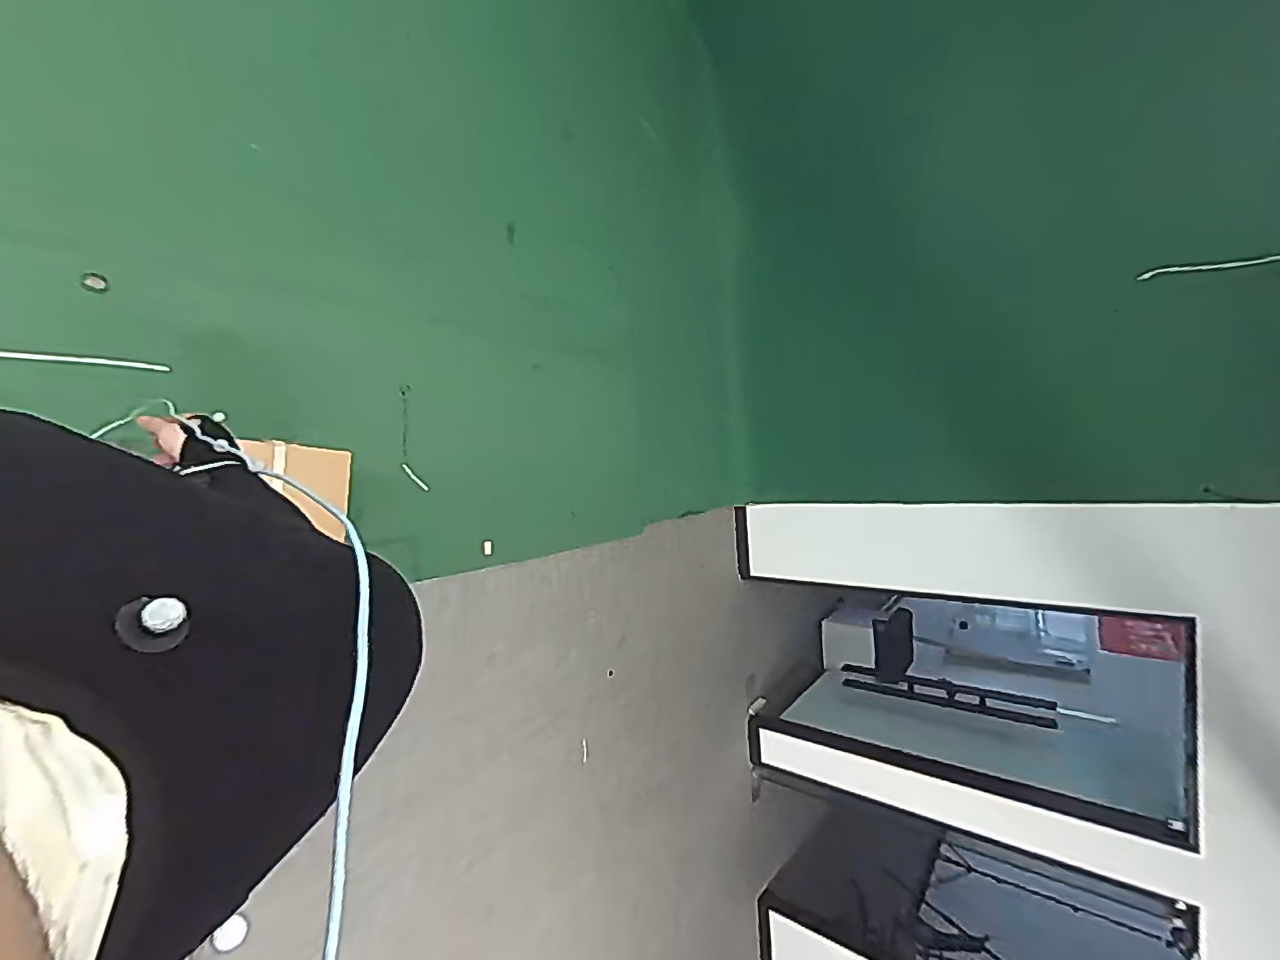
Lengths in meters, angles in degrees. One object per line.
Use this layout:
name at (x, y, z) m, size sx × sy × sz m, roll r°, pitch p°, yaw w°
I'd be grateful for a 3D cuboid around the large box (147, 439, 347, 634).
large box at (-0.941, 0.122, 1.301) m, size 0.320 × 0.320 × 0.408 m, roll 6°, pitch 84°, yaw -50°
